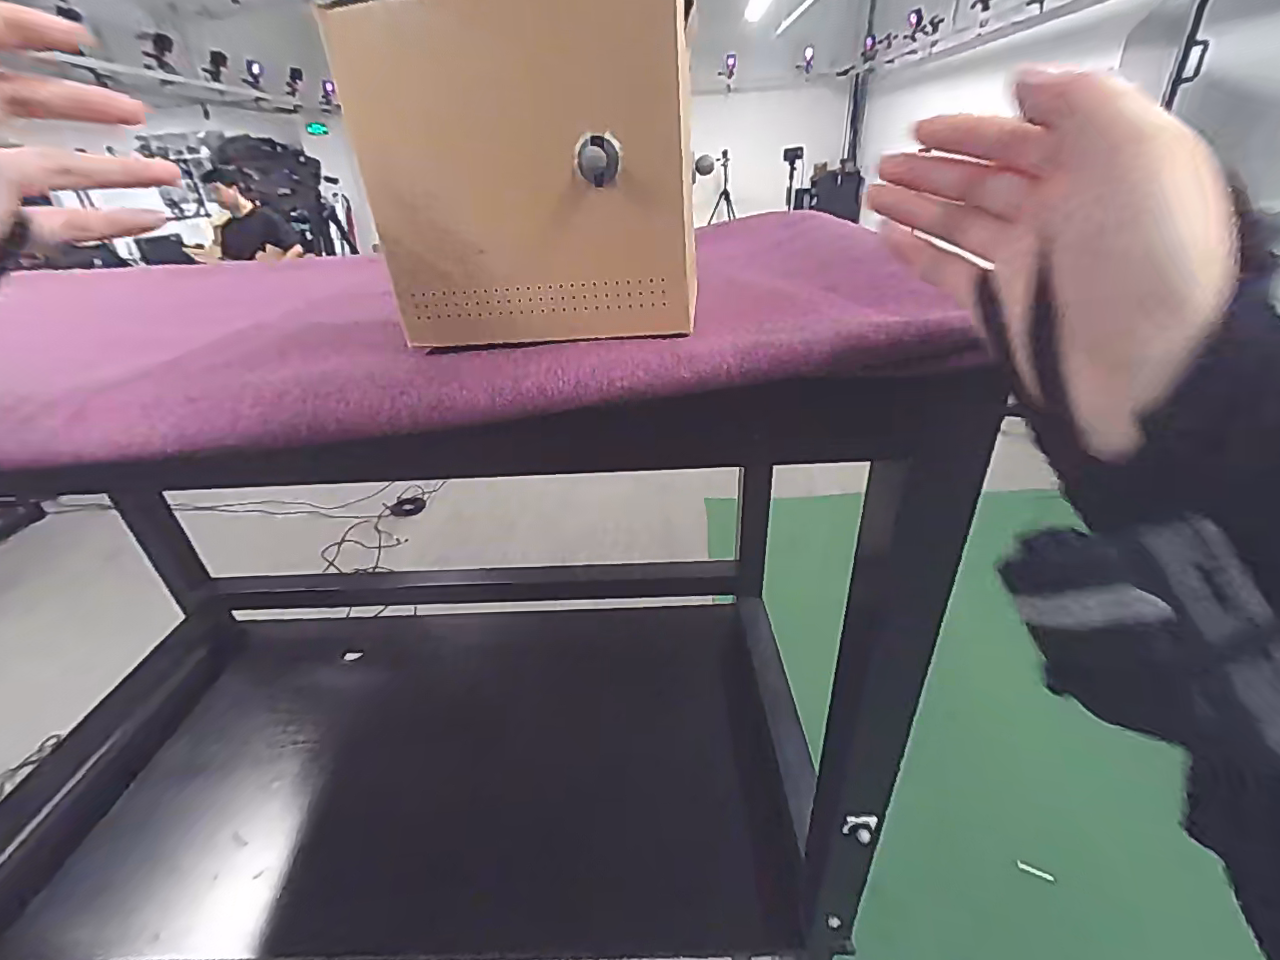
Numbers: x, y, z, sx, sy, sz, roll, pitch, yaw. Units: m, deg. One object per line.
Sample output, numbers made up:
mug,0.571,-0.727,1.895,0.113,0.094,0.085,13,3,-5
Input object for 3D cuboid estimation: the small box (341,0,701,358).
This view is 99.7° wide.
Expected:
small box,-0.048,-0.186,0.361,0.179,0.176,0.168,-2,26,7
